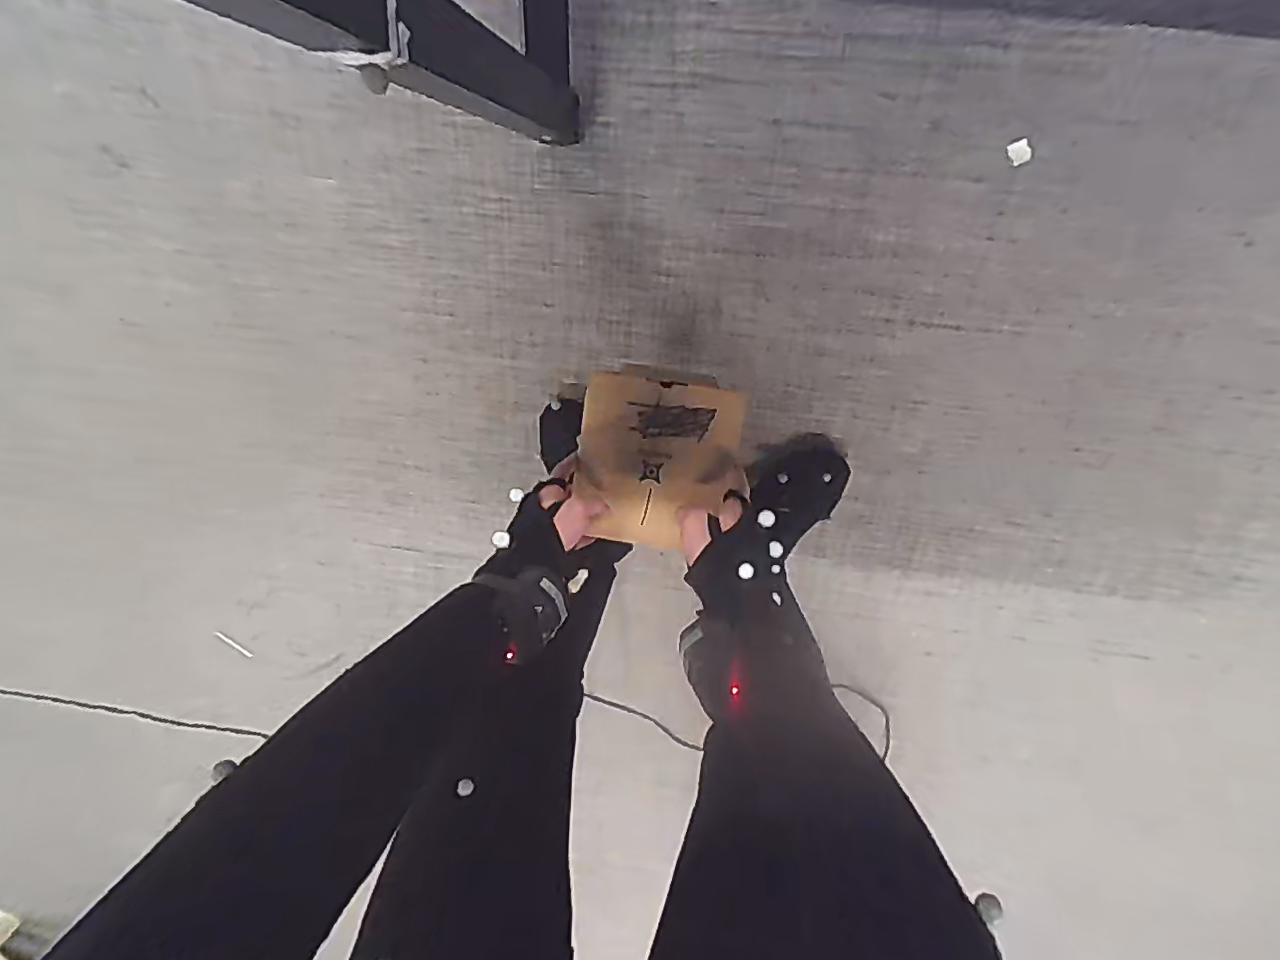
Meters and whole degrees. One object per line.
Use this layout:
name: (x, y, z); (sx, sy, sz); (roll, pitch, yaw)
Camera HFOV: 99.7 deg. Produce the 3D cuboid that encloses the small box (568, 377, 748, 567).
small box: (0.026, -0.012, 0.633); (0.168, 0.176, 0.179); (9, 93, 7)
